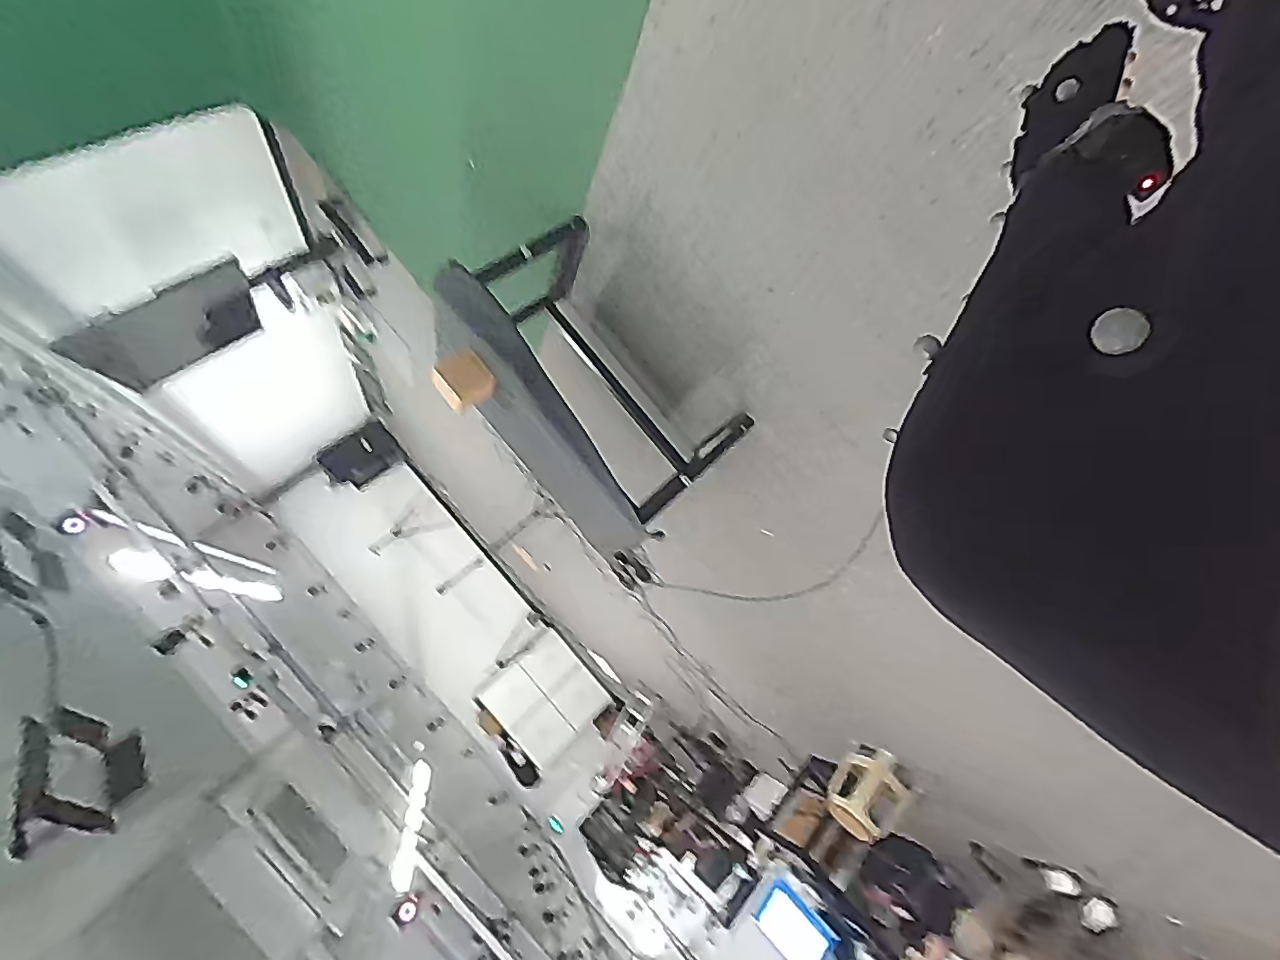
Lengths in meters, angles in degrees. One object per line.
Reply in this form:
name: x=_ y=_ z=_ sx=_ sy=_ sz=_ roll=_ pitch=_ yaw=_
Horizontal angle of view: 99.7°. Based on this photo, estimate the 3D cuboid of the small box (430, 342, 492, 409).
small box: x=-0.706 y=-0.413 z=2.141 sx=0.168 sy=0.176 sz=0.179 roll=50 pitch=157 yaw=-4
